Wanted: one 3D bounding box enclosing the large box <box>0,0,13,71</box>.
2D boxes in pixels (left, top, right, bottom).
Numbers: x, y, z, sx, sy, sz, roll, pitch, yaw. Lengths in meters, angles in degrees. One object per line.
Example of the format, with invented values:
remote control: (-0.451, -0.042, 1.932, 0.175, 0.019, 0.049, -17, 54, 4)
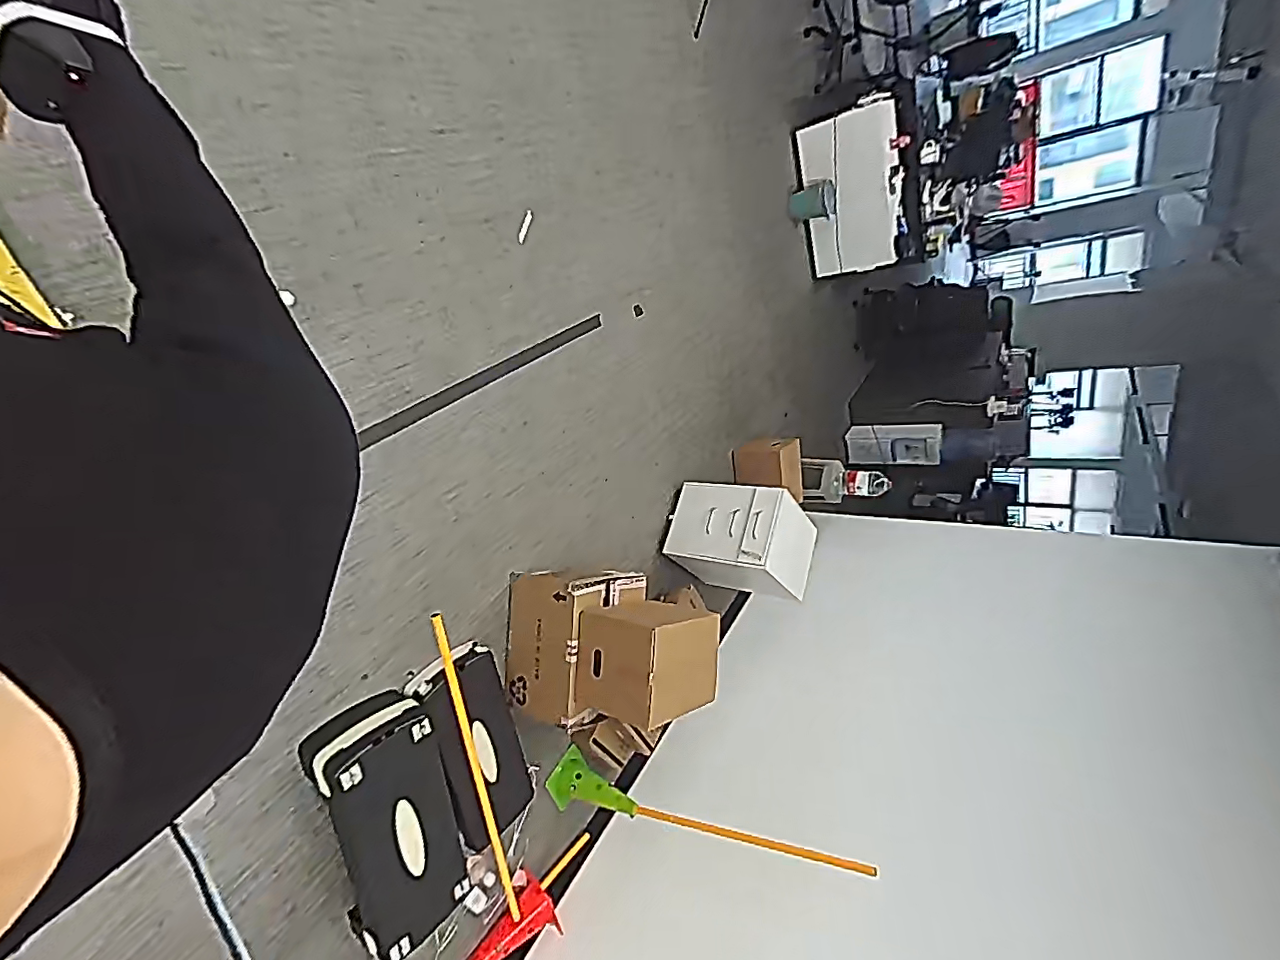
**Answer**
large box: (-0.693, -0.410, 0.274, 0.408, 0.320, 0.320, -31, 123, -45)
